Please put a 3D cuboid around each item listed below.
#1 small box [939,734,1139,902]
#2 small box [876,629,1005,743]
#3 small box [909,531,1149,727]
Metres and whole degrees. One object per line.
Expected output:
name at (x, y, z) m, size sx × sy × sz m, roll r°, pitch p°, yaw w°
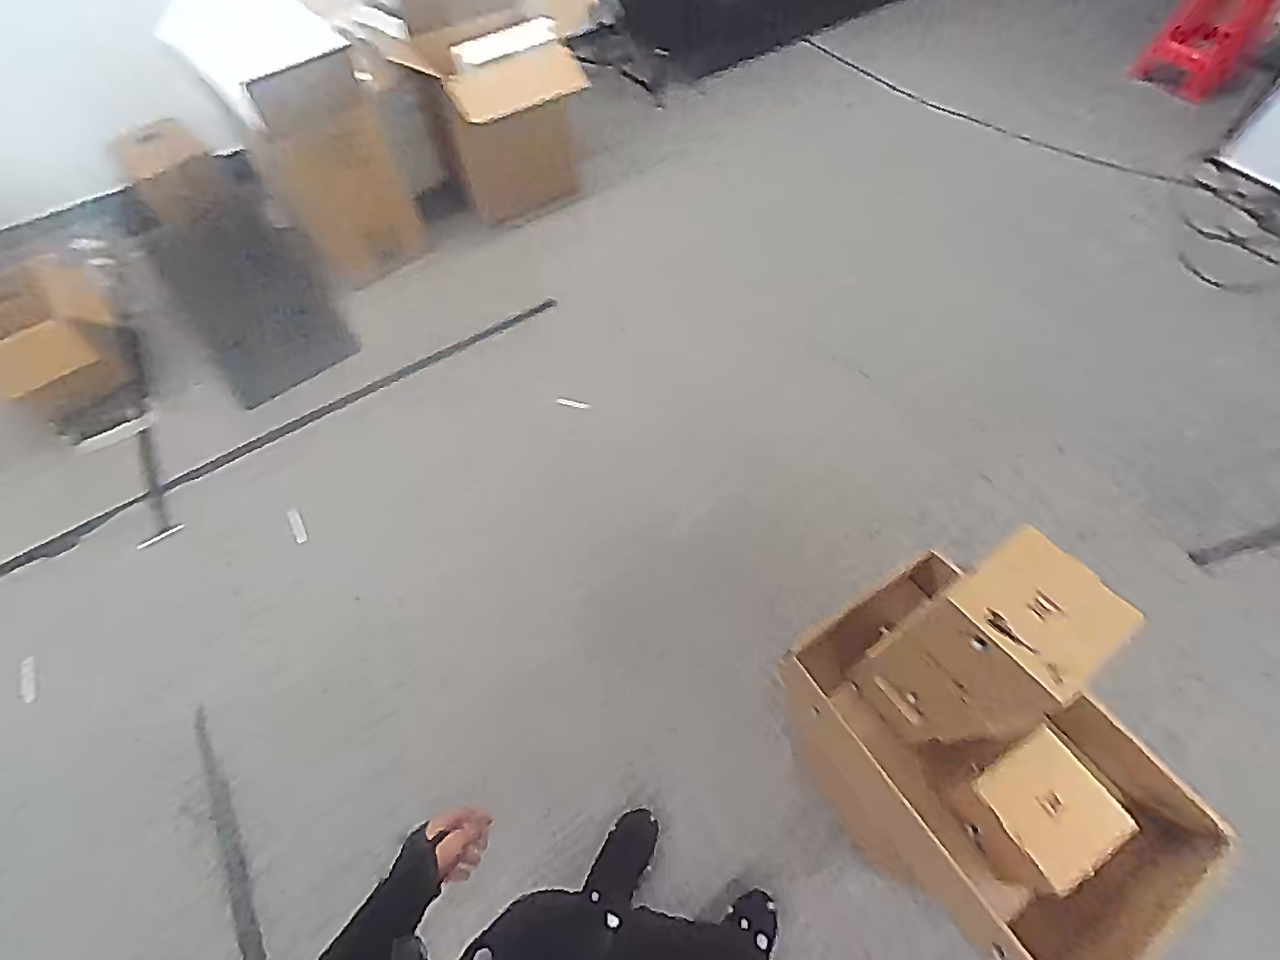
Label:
small box at (0.648, 0.556, 0.905) m, size 0.179 × 0.176 × 0.168 m, roll -28°, pitch 61°, yaw -13°
small box at (0.520, 0.297, 0.876) m, size 0.179 × 0.176 × 0.168 m, roll -32°, pitch 62°, yaw -15°
small box at (0.510, 0.207, 0.739) m, size 0.179 × 0.176 × 0.168 m, roll -32°, pitch 62°, yaw -16°
